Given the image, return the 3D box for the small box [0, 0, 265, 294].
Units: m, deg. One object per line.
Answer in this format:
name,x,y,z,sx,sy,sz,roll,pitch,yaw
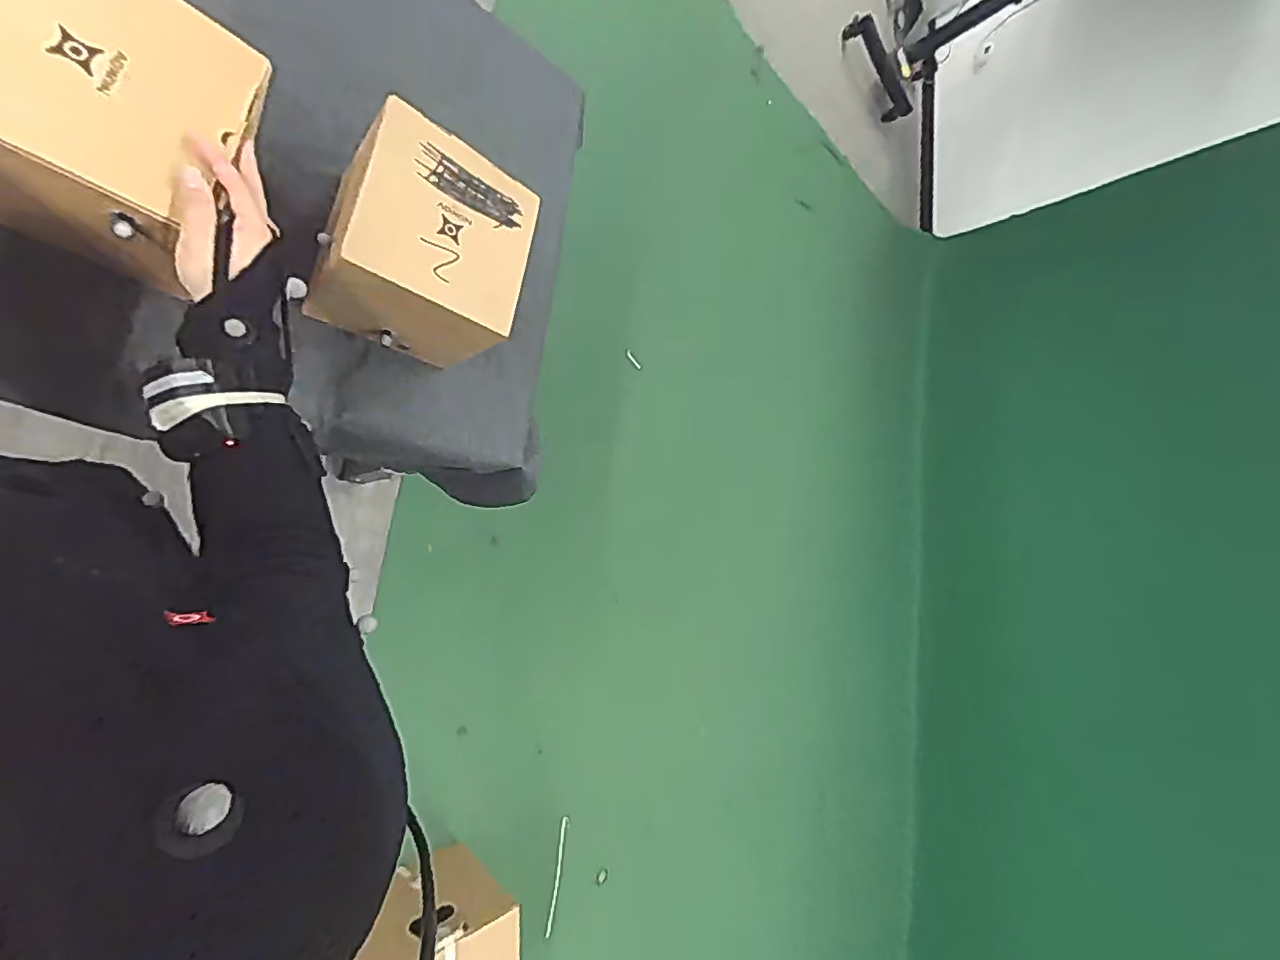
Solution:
small box,-0.430,-0.272,0.416,0.179,0.176,0.168,22,71,-40
